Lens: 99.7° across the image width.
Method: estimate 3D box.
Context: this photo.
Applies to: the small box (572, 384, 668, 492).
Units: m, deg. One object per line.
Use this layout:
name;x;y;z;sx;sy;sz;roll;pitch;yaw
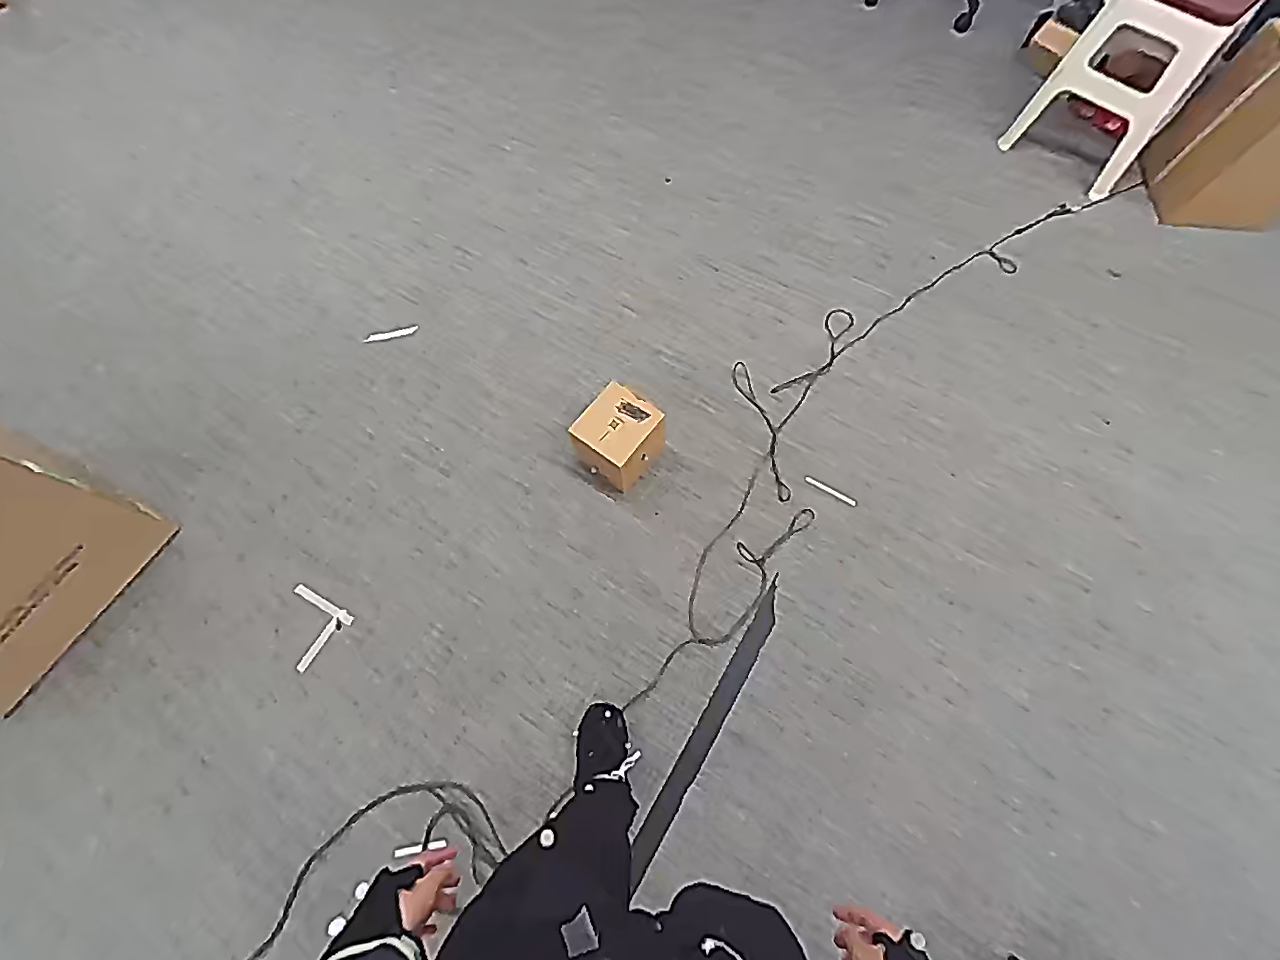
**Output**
small box;-0.048;-0.101;1.360;0.168;0.176;0.179;35;73;15
